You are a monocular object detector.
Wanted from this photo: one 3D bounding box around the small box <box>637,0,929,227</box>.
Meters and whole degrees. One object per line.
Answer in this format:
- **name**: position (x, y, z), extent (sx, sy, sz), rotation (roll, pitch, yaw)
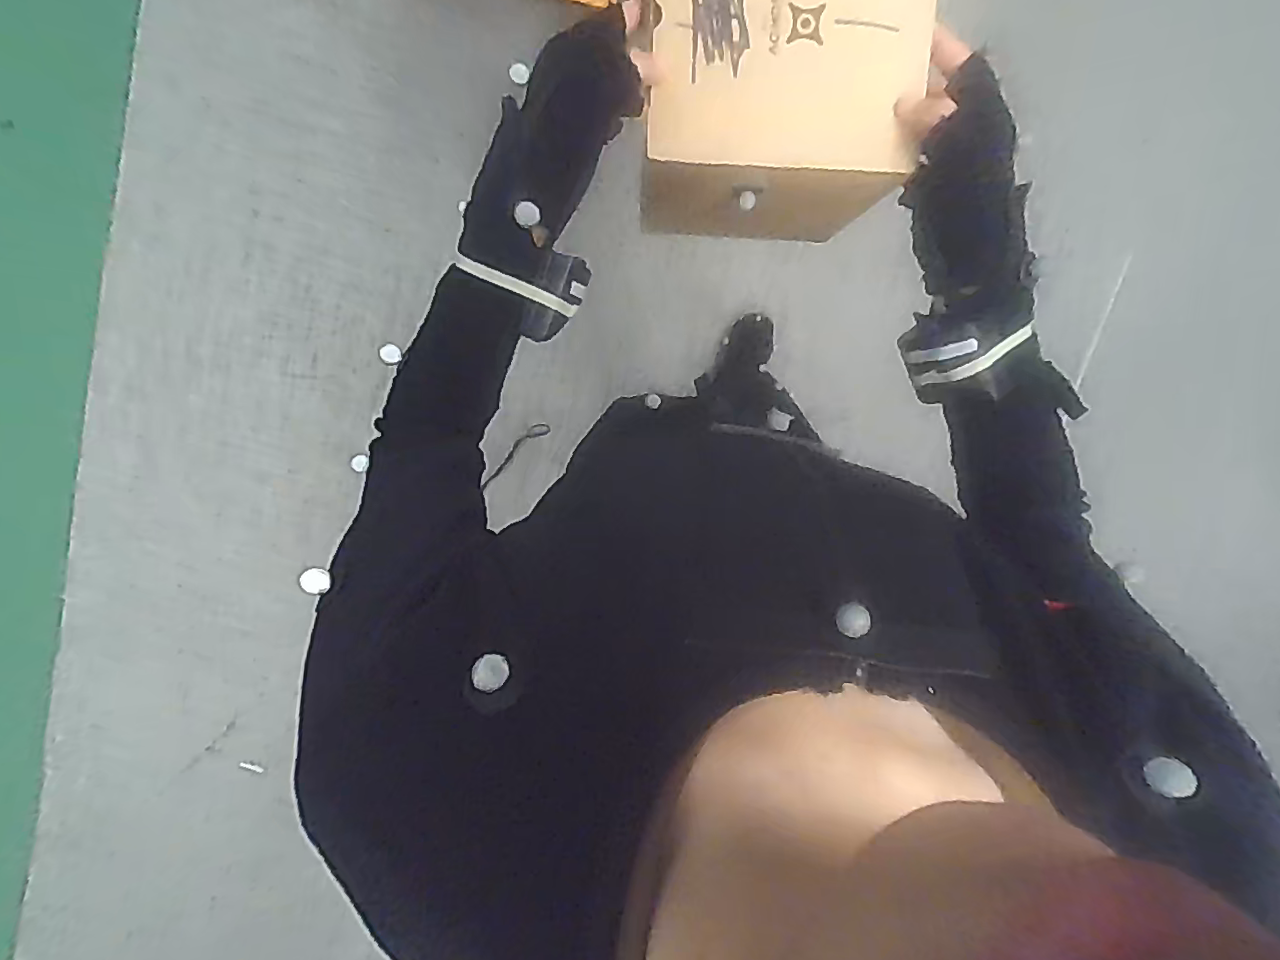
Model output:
- **small box**: position (0.088, -0.302, 0.405), extent (0.179, 0.176, 0.168), rotation (2, 100, -2)
